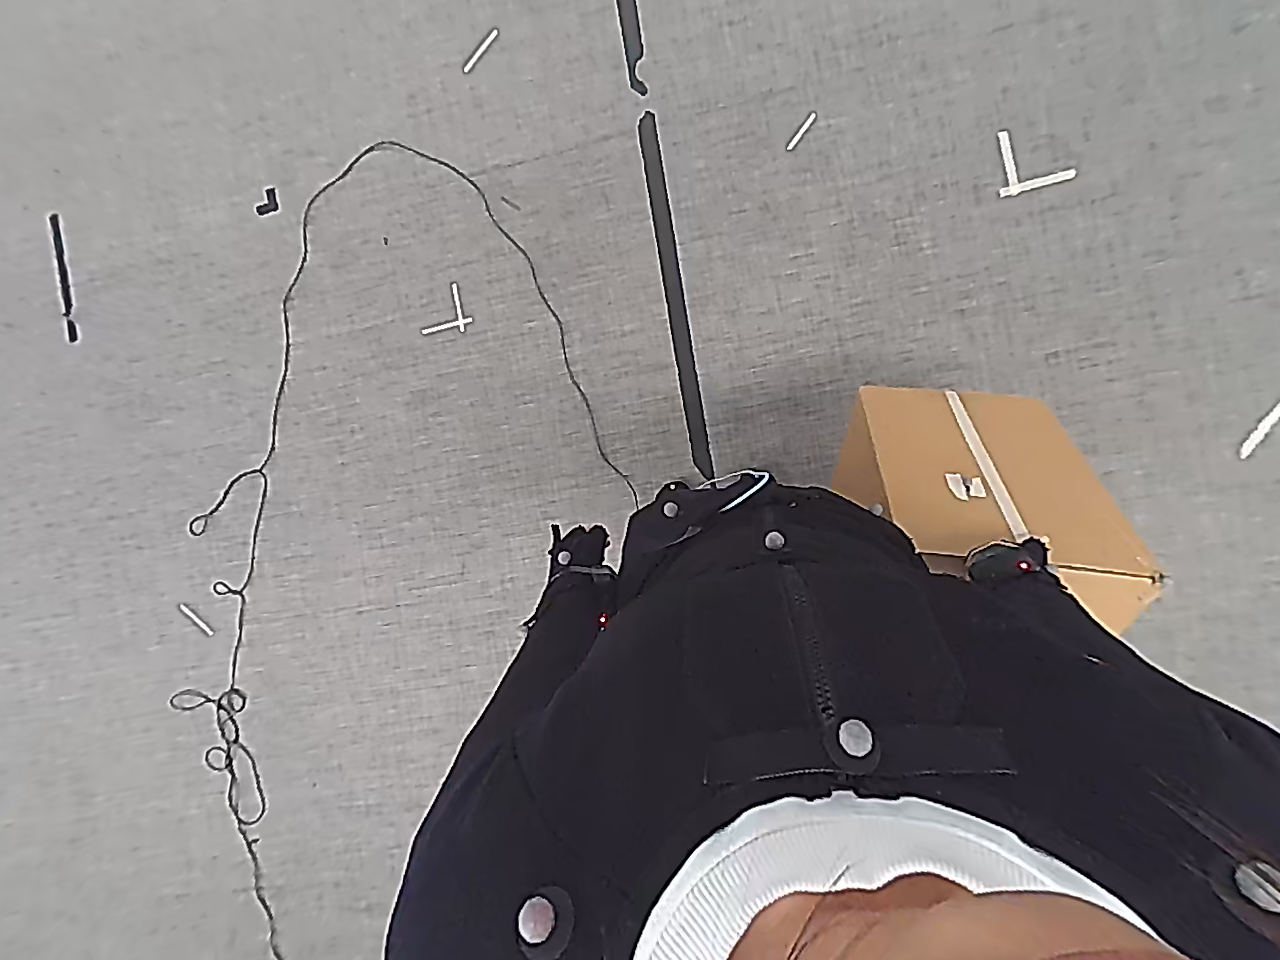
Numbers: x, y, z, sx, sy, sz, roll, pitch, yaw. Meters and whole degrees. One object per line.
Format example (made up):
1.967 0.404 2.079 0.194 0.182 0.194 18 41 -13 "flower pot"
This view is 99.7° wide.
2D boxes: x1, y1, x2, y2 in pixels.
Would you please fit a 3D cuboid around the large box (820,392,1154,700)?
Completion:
0.509 0.095 0.920 0.320 0.408 0.320 5 133 8 "large box"
